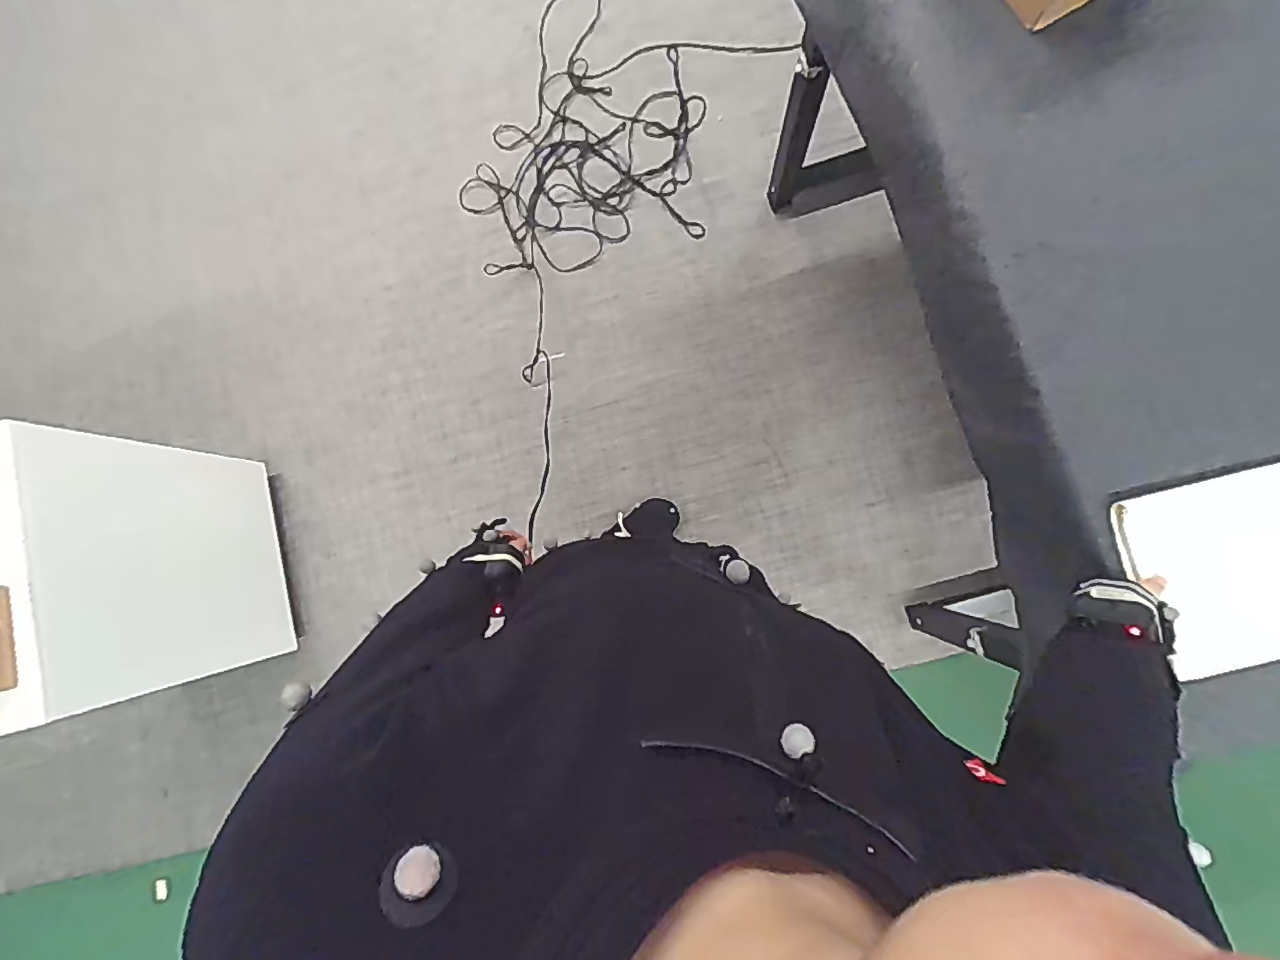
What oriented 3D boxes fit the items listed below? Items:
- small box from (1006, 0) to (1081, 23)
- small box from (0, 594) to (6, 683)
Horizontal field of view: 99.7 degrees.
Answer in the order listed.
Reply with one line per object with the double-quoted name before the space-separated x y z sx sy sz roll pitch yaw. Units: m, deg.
"small box" 0.504 -0.679 0.600 0.168 0.176 0.179 -30 83 1
"small box" -1.081 0.261 0.777 0.179 0.176 0.168 -15 81 5
